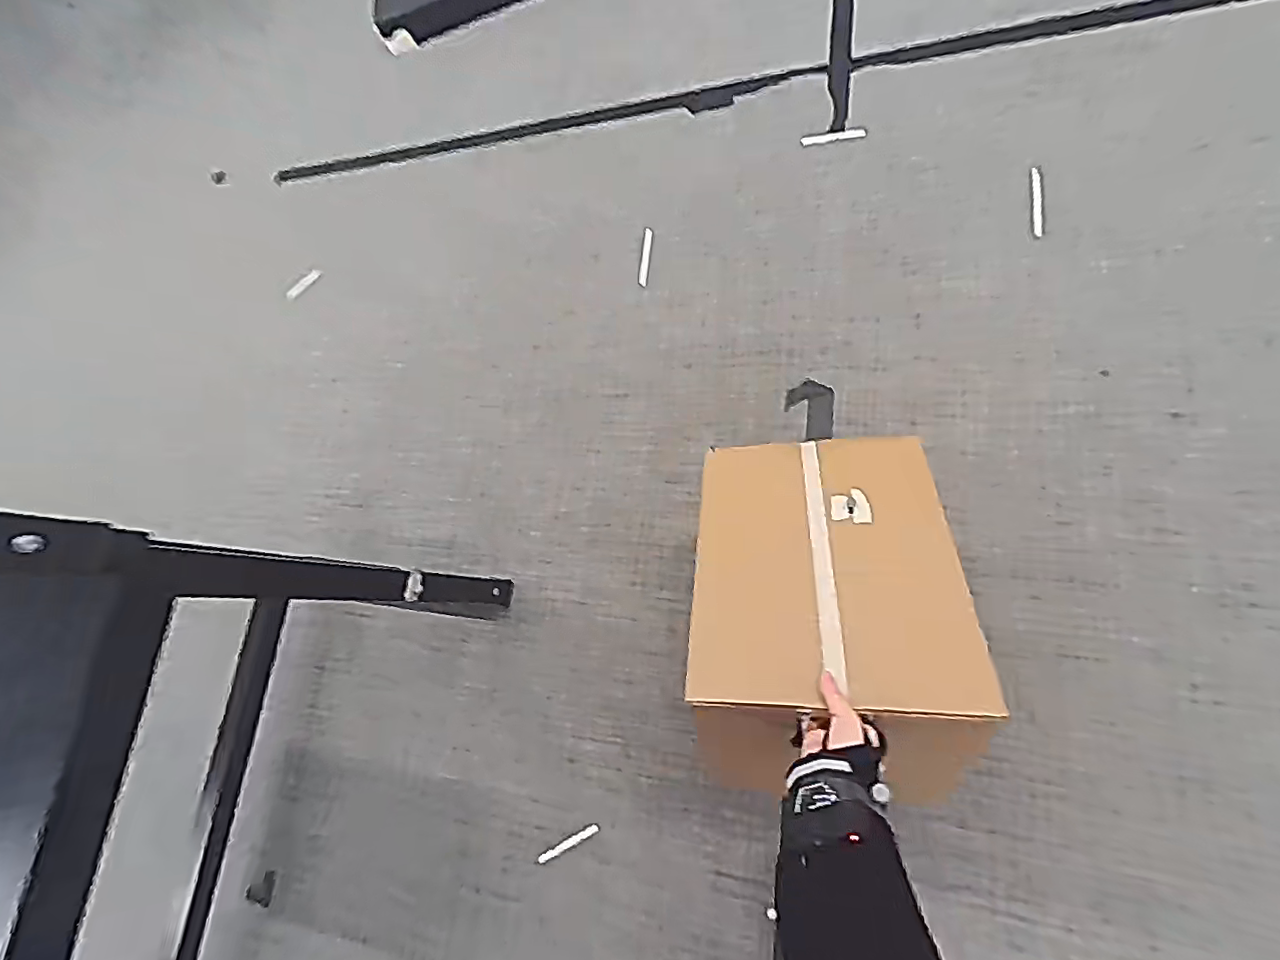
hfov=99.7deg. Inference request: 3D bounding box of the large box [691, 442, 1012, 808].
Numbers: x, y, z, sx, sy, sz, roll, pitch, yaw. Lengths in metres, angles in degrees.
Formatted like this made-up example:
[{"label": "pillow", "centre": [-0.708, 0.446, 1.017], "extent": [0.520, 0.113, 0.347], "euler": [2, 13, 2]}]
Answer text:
[{"label": "large box", "centre": [0.258, 0.196, 0.777], "extent": [0.320, 0.320, 0.408], "euler": [-2, 43, 13]}]
